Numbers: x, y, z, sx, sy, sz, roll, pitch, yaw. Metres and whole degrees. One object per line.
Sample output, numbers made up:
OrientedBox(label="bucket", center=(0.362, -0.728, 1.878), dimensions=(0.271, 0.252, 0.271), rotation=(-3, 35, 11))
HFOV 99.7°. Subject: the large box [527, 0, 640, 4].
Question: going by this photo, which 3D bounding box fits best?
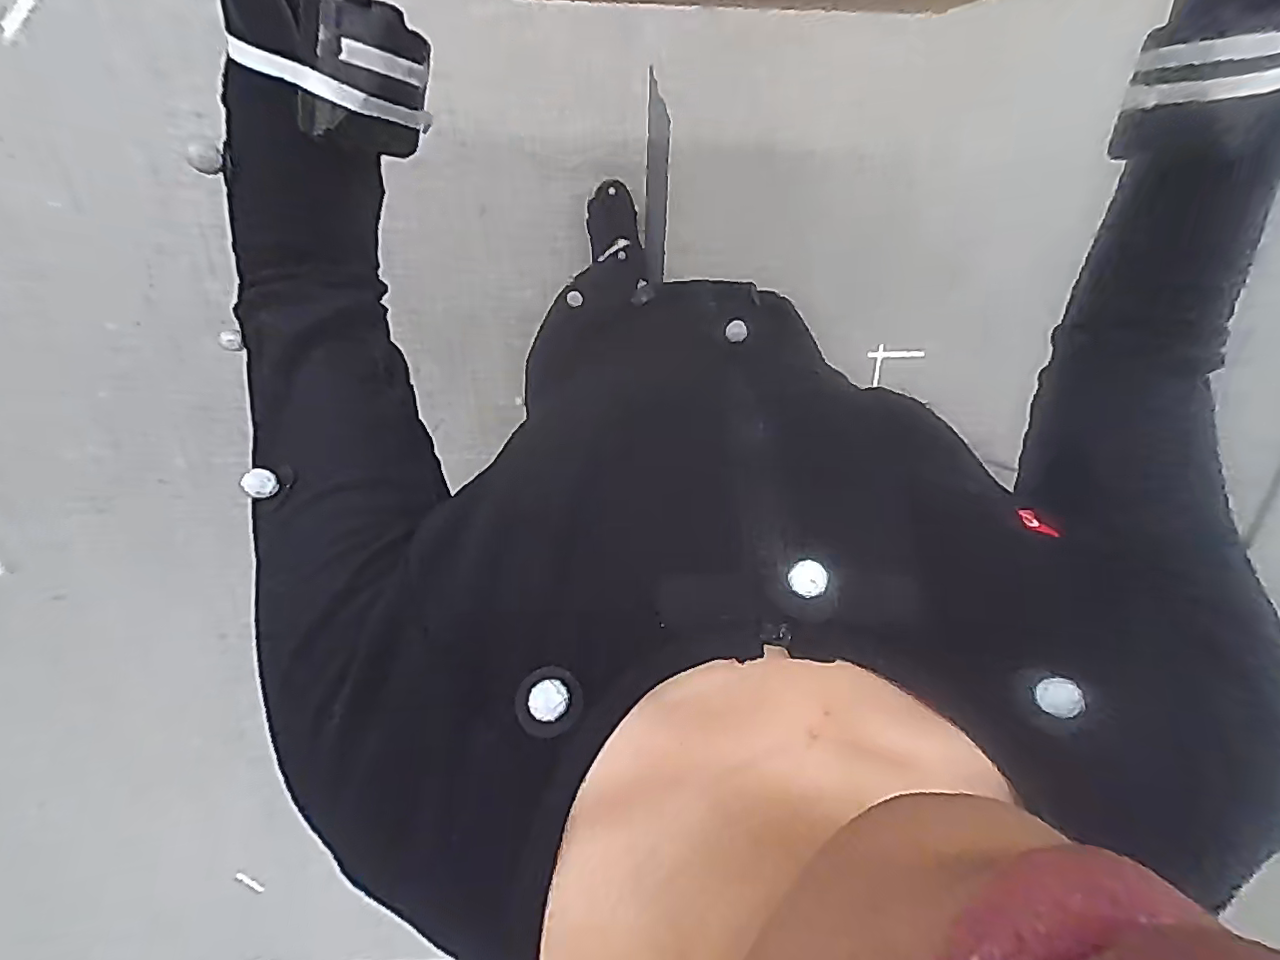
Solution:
OrientedBox(label="large box", center=(0.079, -0.487, 0.292), dimensions=(0.408, 0.320, 0.320), rotation=(0, 125, -2))
